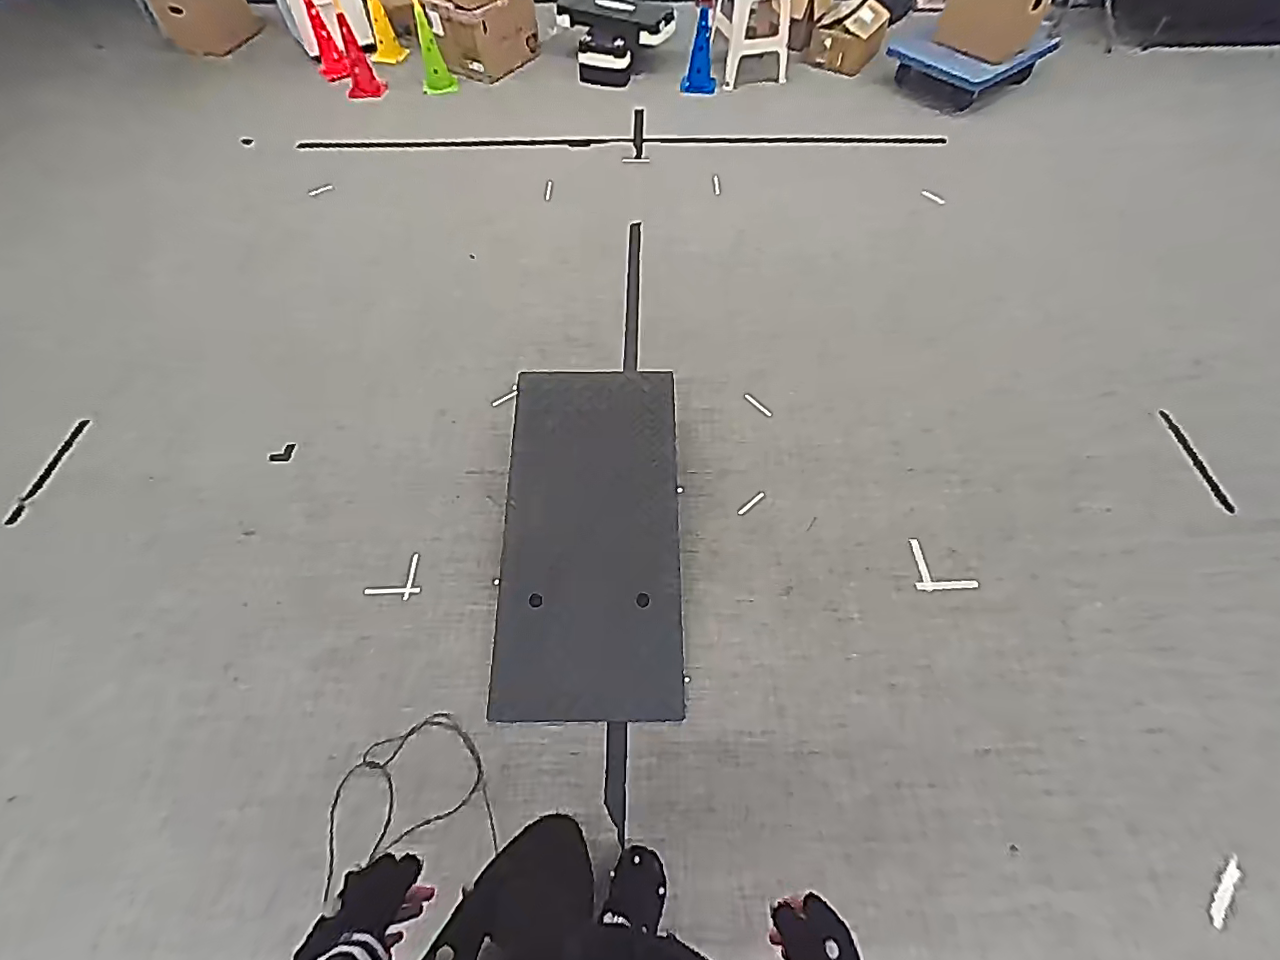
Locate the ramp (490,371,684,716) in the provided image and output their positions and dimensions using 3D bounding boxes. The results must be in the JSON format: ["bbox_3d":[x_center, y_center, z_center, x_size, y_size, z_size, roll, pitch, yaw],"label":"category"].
[{"bbox_3d":[-0.132,0.123,1.526,0.509,0.206,0.991,-1,58,-2],"label":"ramp"}]
